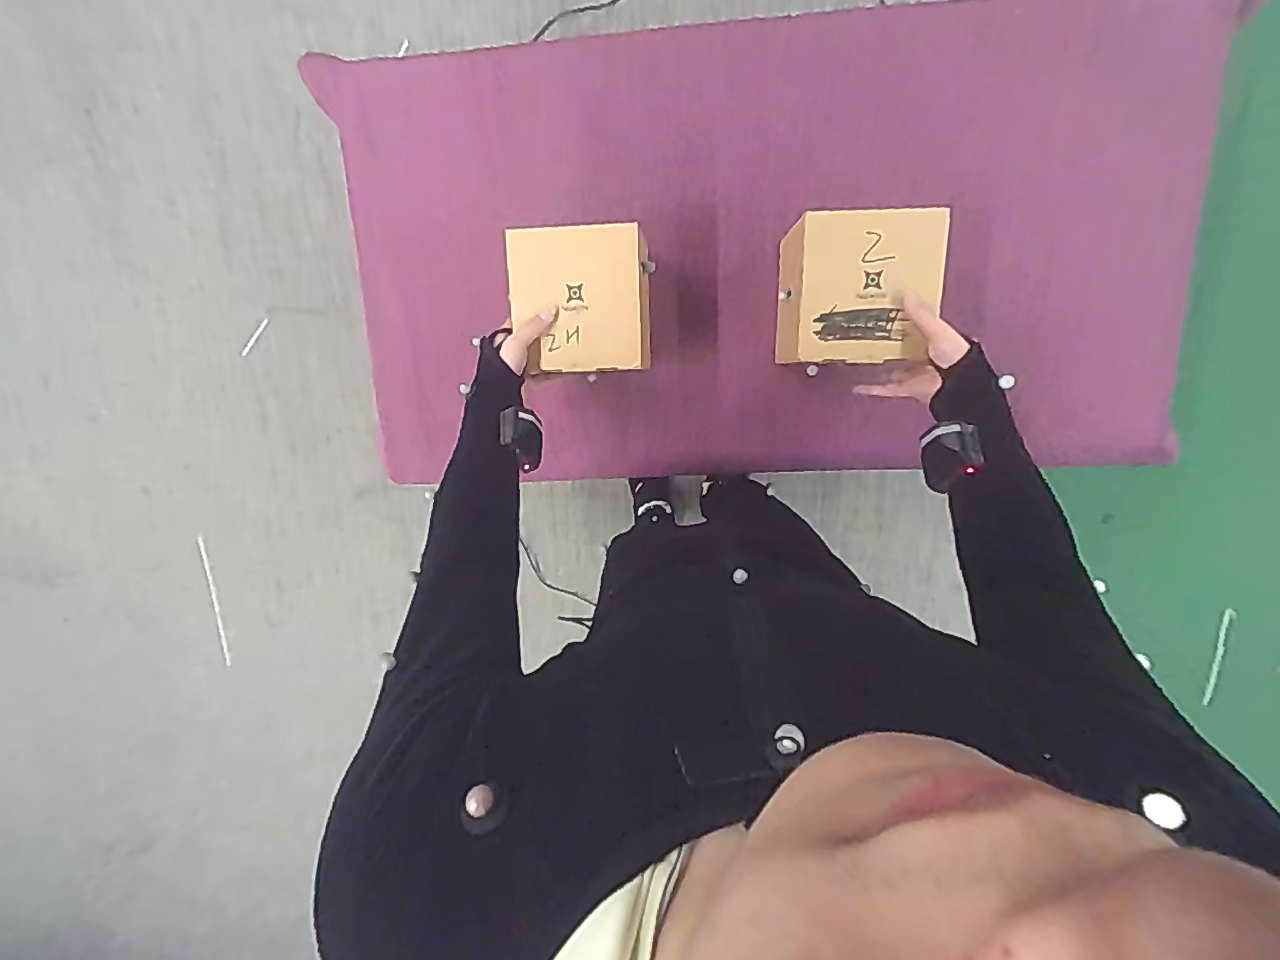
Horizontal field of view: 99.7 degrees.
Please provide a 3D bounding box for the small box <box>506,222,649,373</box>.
[{"bbox_3d":[-0.075,-0.237,0.741,0.168,0.176,0.179,0,102,5],"label":"small box"}]
